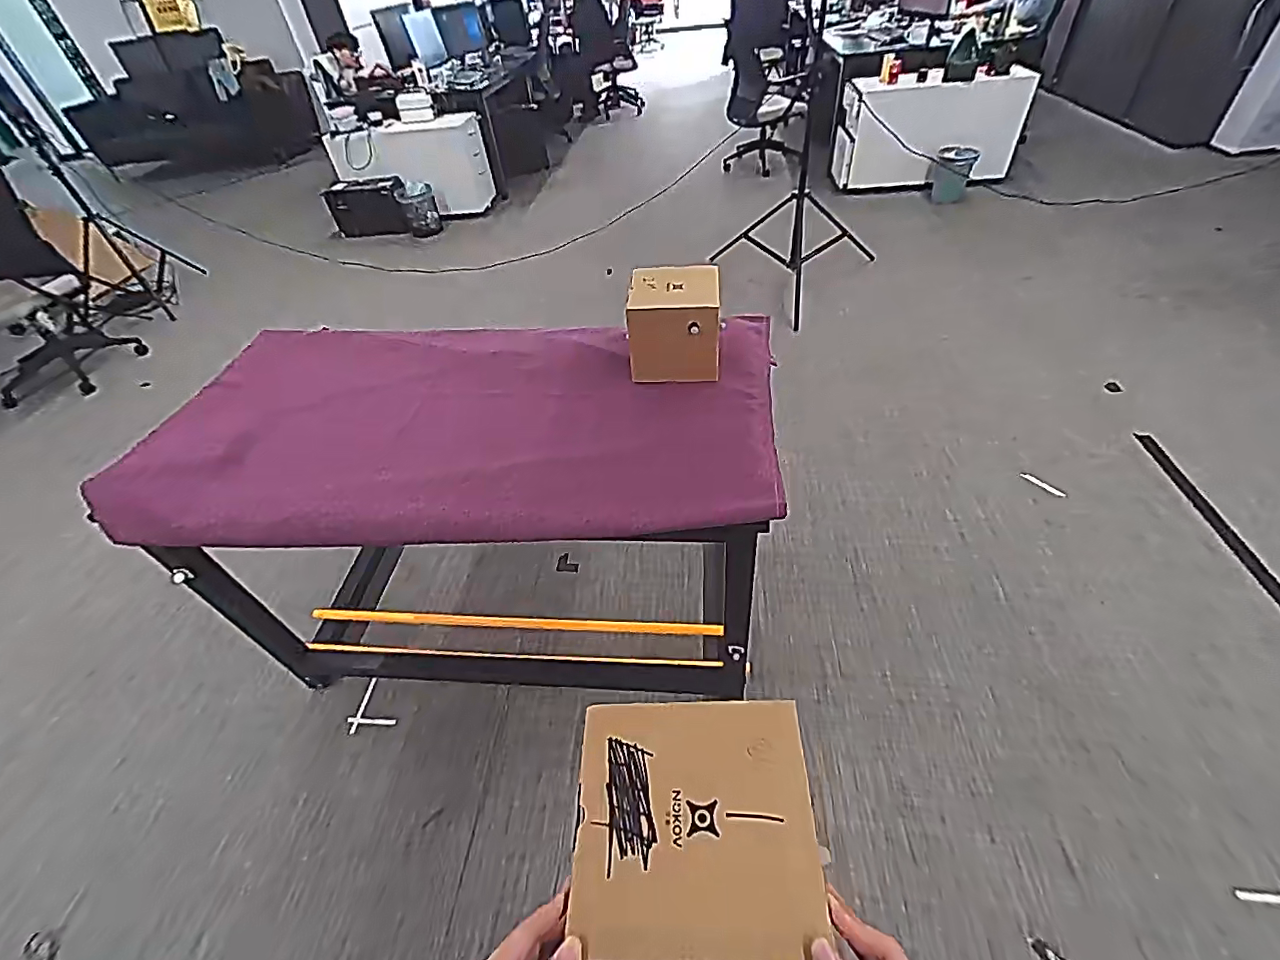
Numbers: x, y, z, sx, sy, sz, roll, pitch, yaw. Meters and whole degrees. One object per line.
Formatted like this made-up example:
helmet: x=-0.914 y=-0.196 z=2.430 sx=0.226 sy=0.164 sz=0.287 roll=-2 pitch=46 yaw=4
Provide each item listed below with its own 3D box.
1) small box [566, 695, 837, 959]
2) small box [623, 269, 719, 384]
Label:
small box: x=0.053 y=0.295 z=0.449 sx=0.179 sy=0.176 sz=0.168 roll=-6 pitch=47 yaw=8
small box: x=0.068 y=-0.309 z=1.101 sx=0.179 sy=0.176 sz=0.168 roll=0 pitch=46 yaw=7
